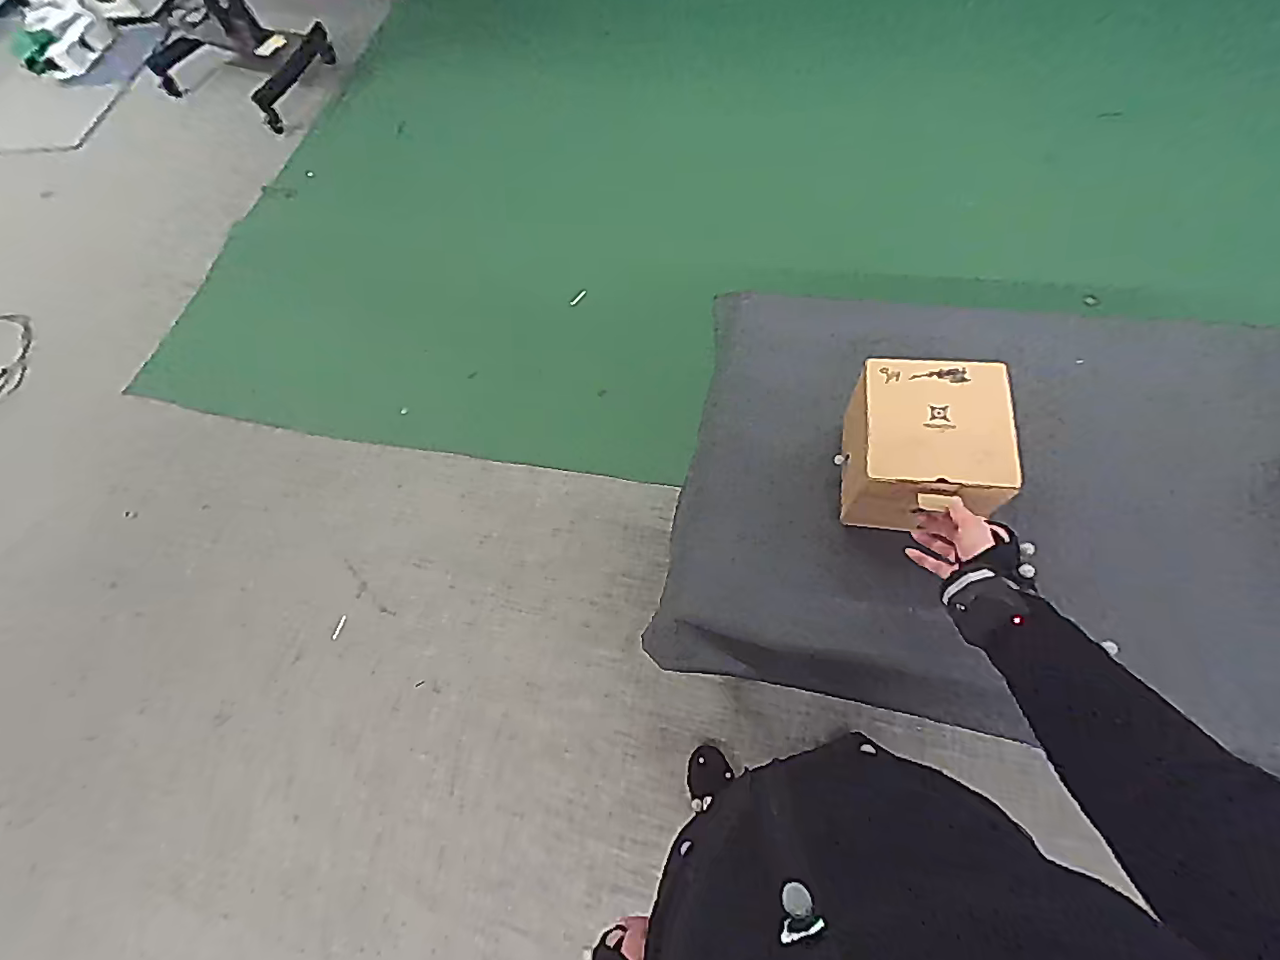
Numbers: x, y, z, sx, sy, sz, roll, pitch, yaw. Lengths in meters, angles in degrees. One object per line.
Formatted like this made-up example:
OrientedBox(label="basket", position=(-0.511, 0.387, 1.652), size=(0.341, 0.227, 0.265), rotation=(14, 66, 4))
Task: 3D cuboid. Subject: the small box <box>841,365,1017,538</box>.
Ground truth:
OrientedBox(label="small box", position=(0.374, -0.032, 0.729), size=(0.168, 0.176, 0.179), rotation=(5, 67, 12))
